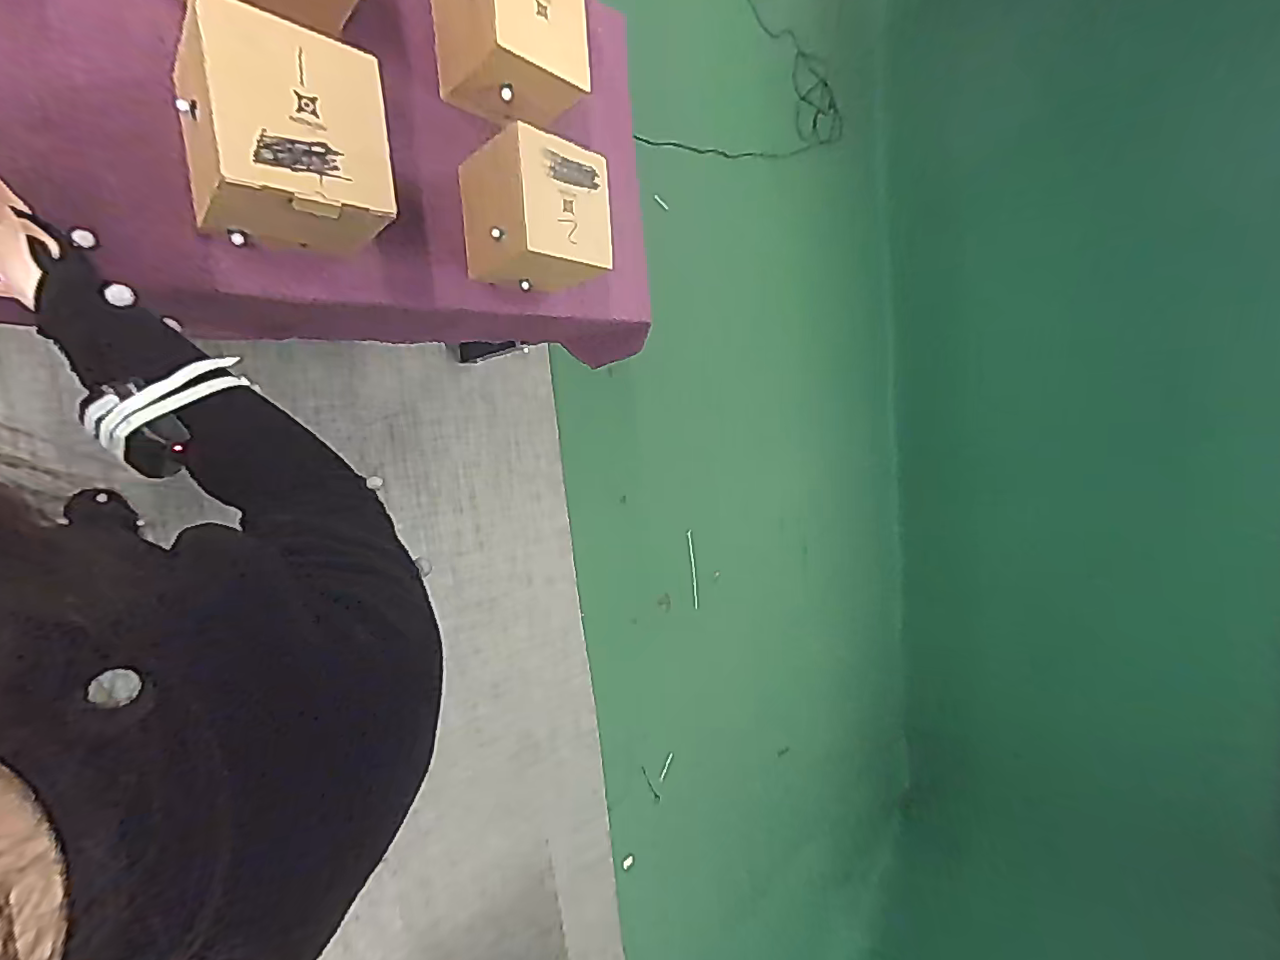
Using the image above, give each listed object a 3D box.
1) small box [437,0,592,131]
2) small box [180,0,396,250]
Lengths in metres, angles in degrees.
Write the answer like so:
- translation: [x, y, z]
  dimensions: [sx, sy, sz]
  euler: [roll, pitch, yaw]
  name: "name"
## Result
- translation: [-0.192, -0.674, 0.819]
  dimensions: [0.168, 0.176, 0.179]
  euler: [-8, 96, -44]
  name: "small box"
- translation: [-0.400, -0.382, 0.614]
  dimensions: [0.168, 0.176, 0.179]
  euler: [-10, 97, -45]
  name: "small box"
